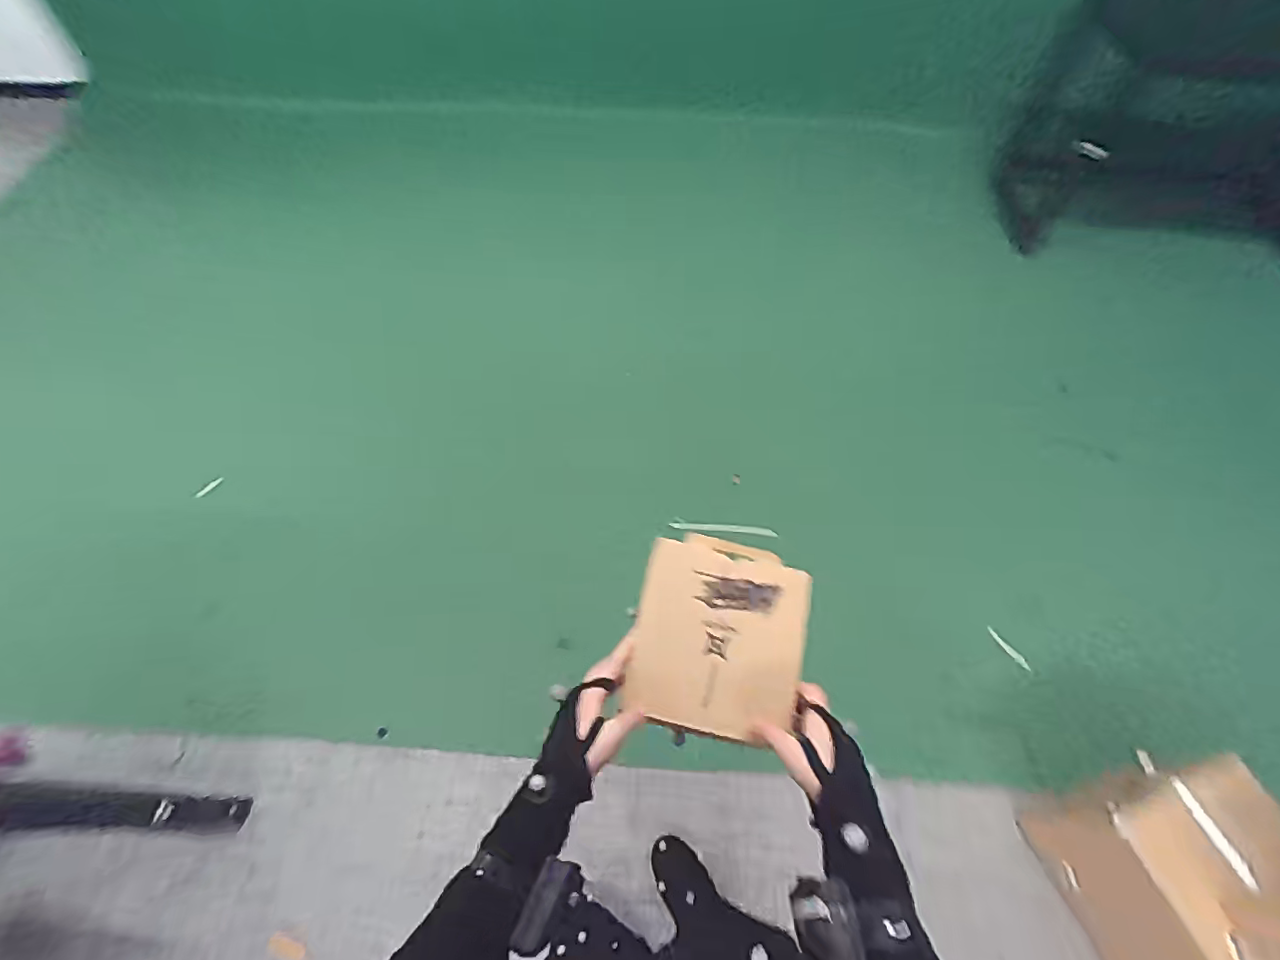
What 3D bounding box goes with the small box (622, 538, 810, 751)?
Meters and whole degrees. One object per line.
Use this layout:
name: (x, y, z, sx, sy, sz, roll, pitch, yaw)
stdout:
small box: (0.077, 0.190, 0.611, 0.168, 0.176, 0.179, 14, 65, 3)
